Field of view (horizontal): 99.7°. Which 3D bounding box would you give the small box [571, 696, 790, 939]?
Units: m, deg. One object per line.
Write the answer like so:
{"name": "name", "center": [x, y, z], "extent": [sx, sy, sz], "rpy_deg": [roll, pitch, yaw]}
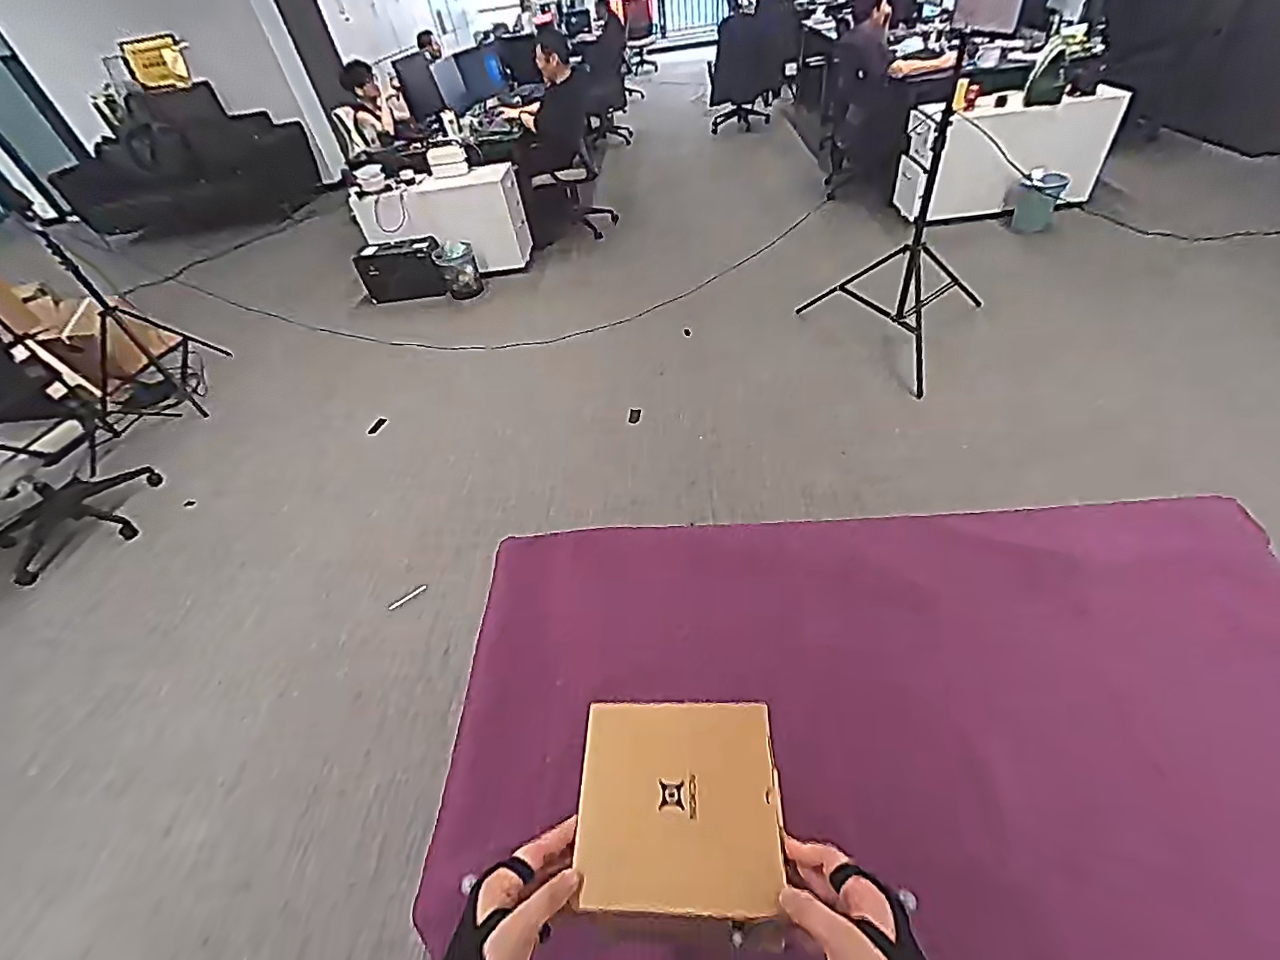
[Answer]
{"name": "small box", "center": [0.044, 0.331, 0.531], "extent": [0.179, 0.176, 0.168], "rpy_deg": [-3, 43, 6]}
